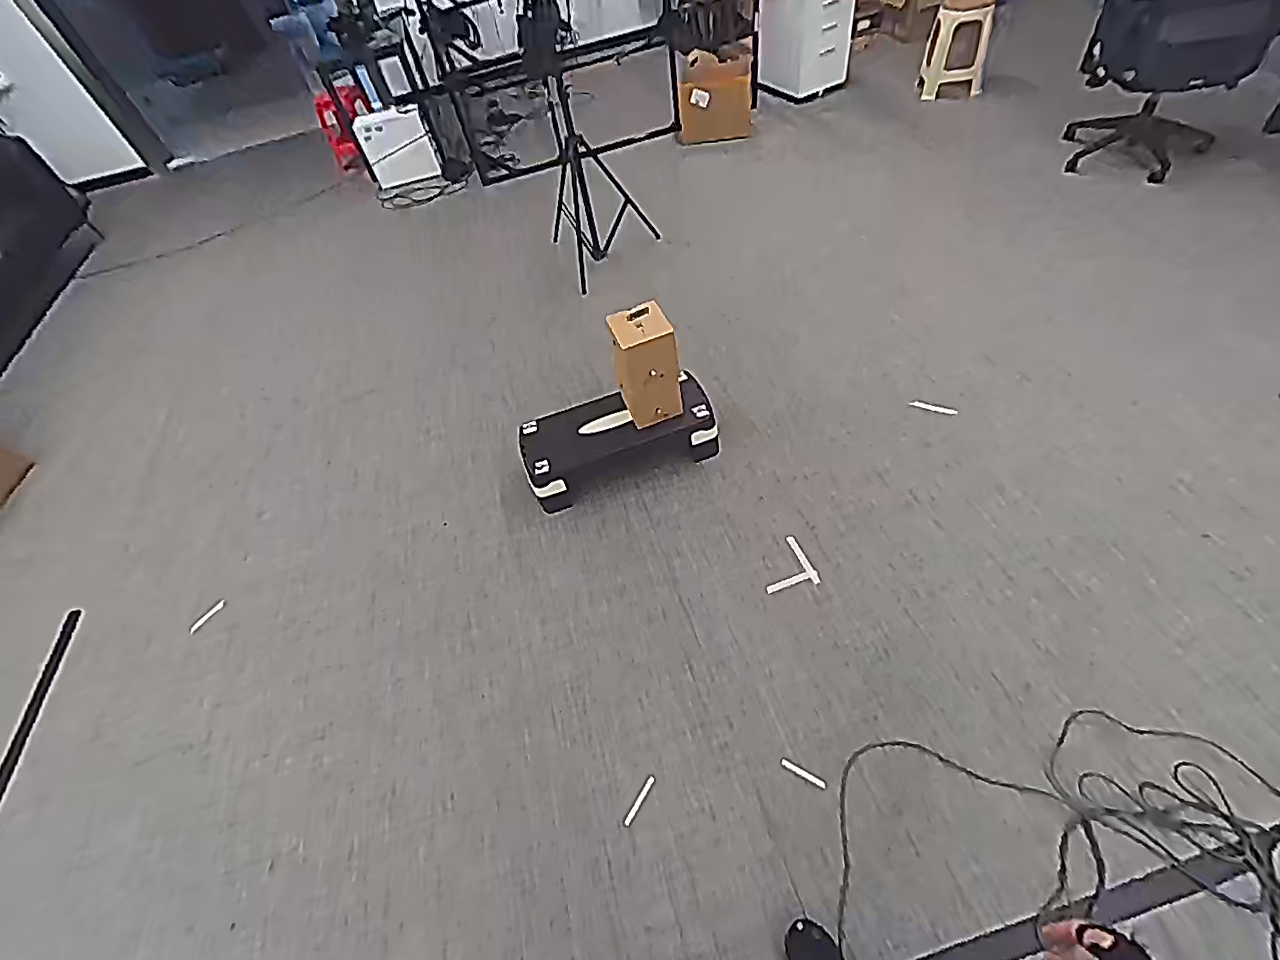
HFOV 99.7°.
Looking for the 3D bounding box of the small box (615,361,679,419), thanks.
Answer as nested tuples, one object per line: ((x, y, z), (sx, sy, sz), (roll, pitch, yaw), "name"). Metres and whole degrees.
((0.028, -0.308, 1.810), (0.168, 0.176, 0.179), (-21, 52, -4), "small box")

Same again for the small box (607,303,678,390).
((0.010, -0.413, 1.685), (0.168, 0.176, 0.179), (-21, 52, -5), "small box")

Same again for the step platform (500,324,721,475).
((-0.089, -0.259, 1.749), (0.684, 0.204, 0.286), (-19, 51, -5), "step platform")
